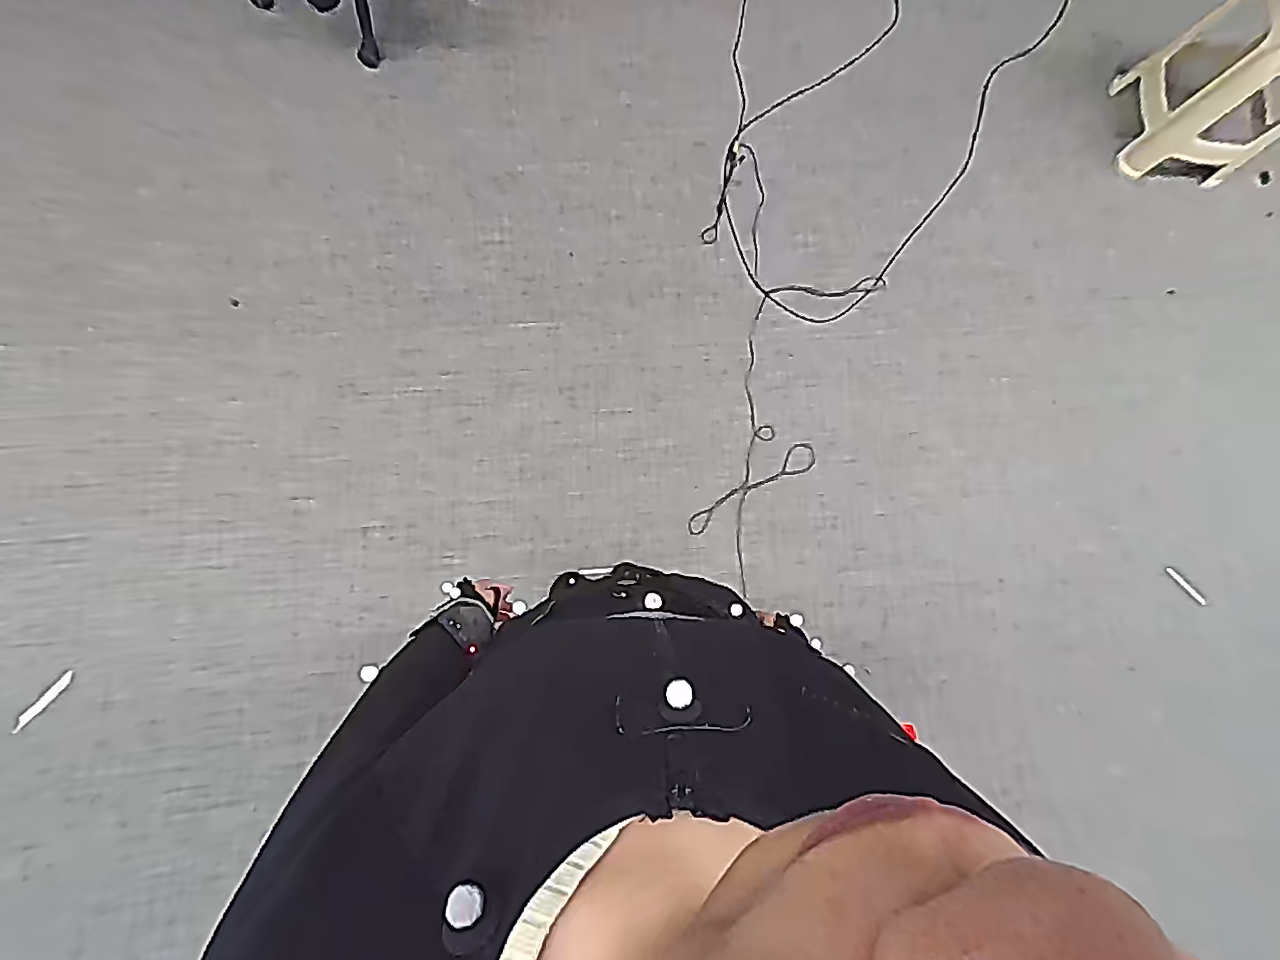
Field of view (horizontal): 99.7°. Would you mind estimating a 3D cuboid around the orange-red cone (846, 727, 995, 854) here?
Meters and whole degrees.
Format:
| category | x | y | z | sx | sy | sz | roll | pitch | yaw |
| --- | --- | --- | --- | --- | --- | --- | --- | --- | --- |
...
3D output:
| category | x | y | z | sx | sy | sz | roll | pitch | yaw |
| --- | --- | --- | --- | --- | --- | --- | --- | --- | --- |
| orange-red cone | 0.631 | 0.703 | 1.177 | 0.199 | 0.360 | 0.198 | -9 | 82 | -4 |
